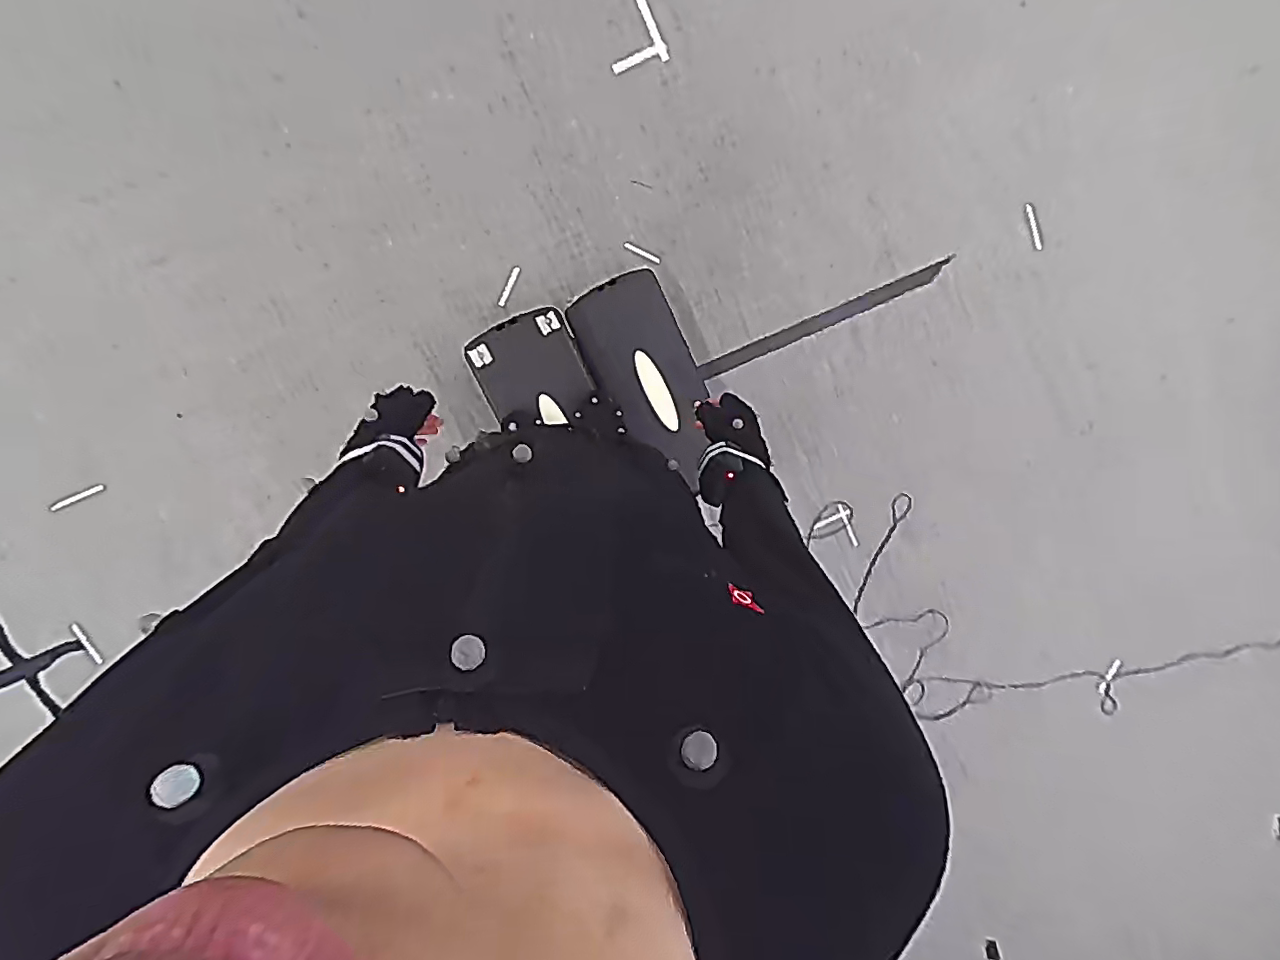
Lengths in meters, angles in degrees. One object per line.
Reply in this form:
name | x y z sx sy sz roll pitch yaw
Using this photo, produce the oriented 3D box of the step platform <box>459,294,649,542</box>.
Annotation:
step platform | -0.231 -0.166 1.537 0.286 0.204 0.684 -26 100 -1
